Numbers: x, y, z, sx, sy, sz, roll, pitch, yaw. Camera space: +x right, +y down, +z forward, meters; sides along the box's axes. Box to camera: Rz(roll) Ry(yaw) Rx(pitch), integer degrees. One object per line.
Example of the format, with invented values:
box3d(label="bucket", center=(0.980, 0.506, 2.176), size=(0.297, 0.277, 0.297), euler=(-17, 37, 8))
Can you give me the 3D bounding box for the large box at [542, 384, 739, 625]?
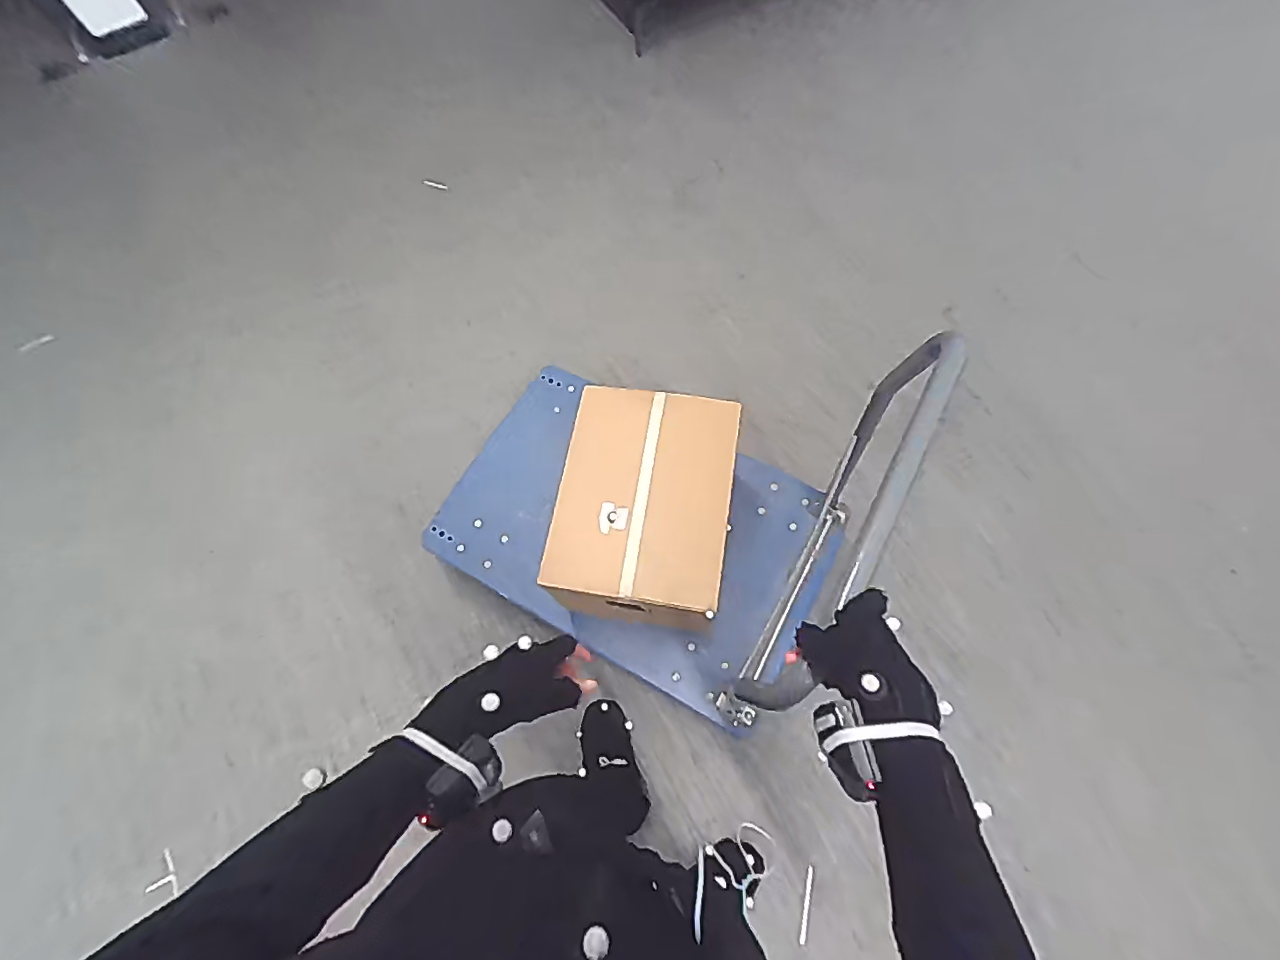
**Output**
box3d(label="large box", center=(0.016, 0.063, 1.129), size=(0.320, 0.320, 0.408), euler=(8, 70, 7))
